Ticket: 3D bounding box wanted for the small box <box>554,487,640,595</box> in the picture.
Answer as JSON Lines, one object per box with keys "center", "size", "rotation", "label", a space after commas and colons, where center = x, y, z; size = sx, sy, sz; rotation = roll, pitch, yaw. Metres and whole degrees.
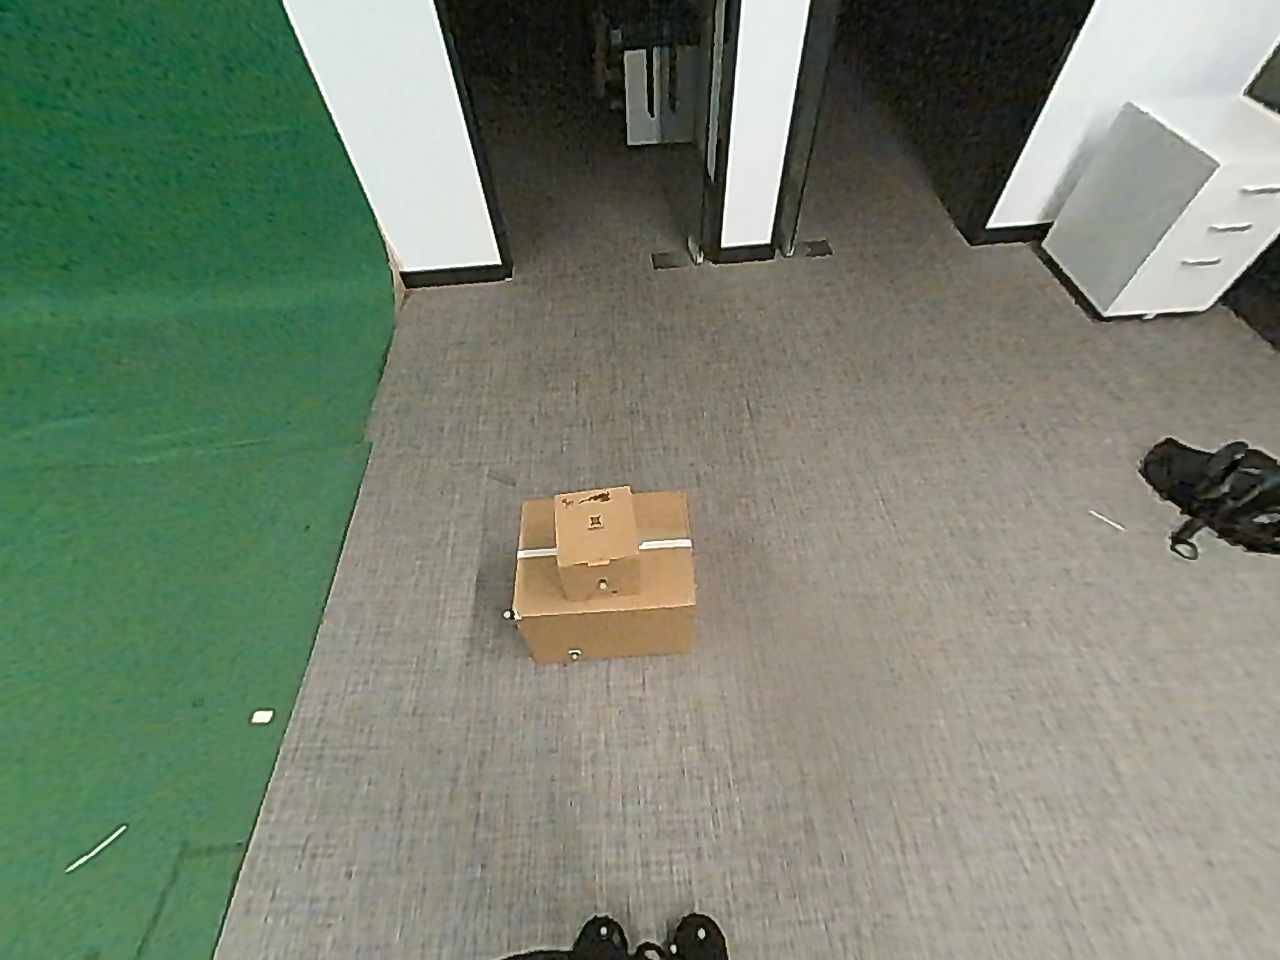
{"center": [-0.091, 0.139, 1.175], "size": [0.168, 0.176, 0.179], "rotation": [-7, 55, -2], "label": "small box"}
